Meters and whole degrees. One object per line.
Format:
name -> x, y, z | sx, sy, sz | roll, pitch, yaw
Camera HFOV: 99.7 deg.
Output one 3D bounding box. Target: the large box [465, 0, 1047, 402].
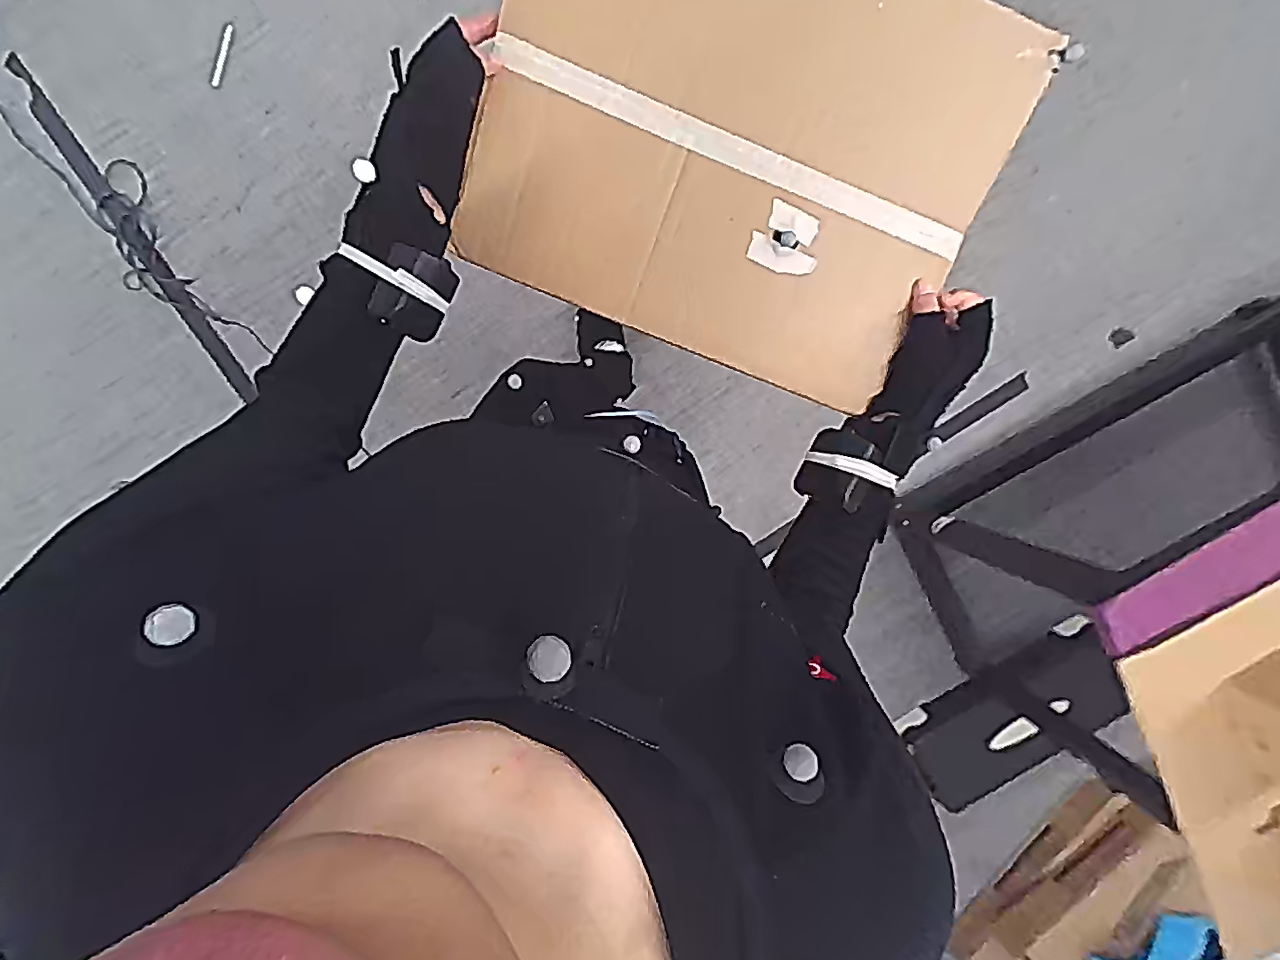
large box -> 0.083, -0.320, 0.588 | 0.408, 0.320, 0.320 | 21, 109, -6
